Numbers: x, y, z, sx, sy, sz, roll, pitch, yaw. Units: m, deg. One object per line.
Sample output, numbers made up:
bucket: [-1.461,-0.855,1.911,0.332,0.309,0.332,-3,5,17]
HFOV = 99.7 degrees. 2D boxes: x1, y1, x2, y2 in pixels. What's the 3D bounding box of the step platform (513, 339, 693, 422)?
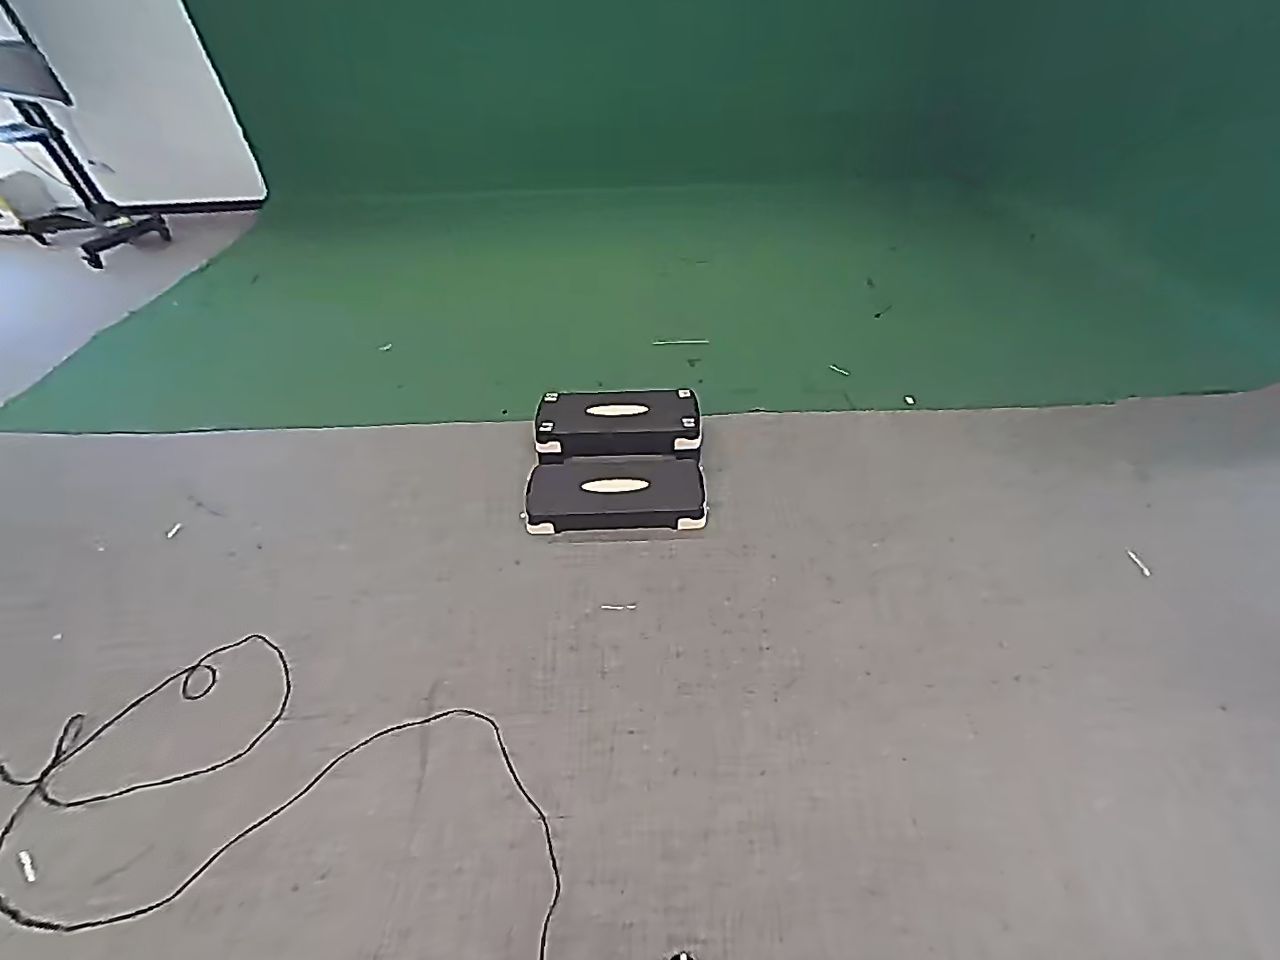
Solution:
step platform: [-0.136,-0.390,2.126,0.684,0.204,0.286,-2,45,1]
